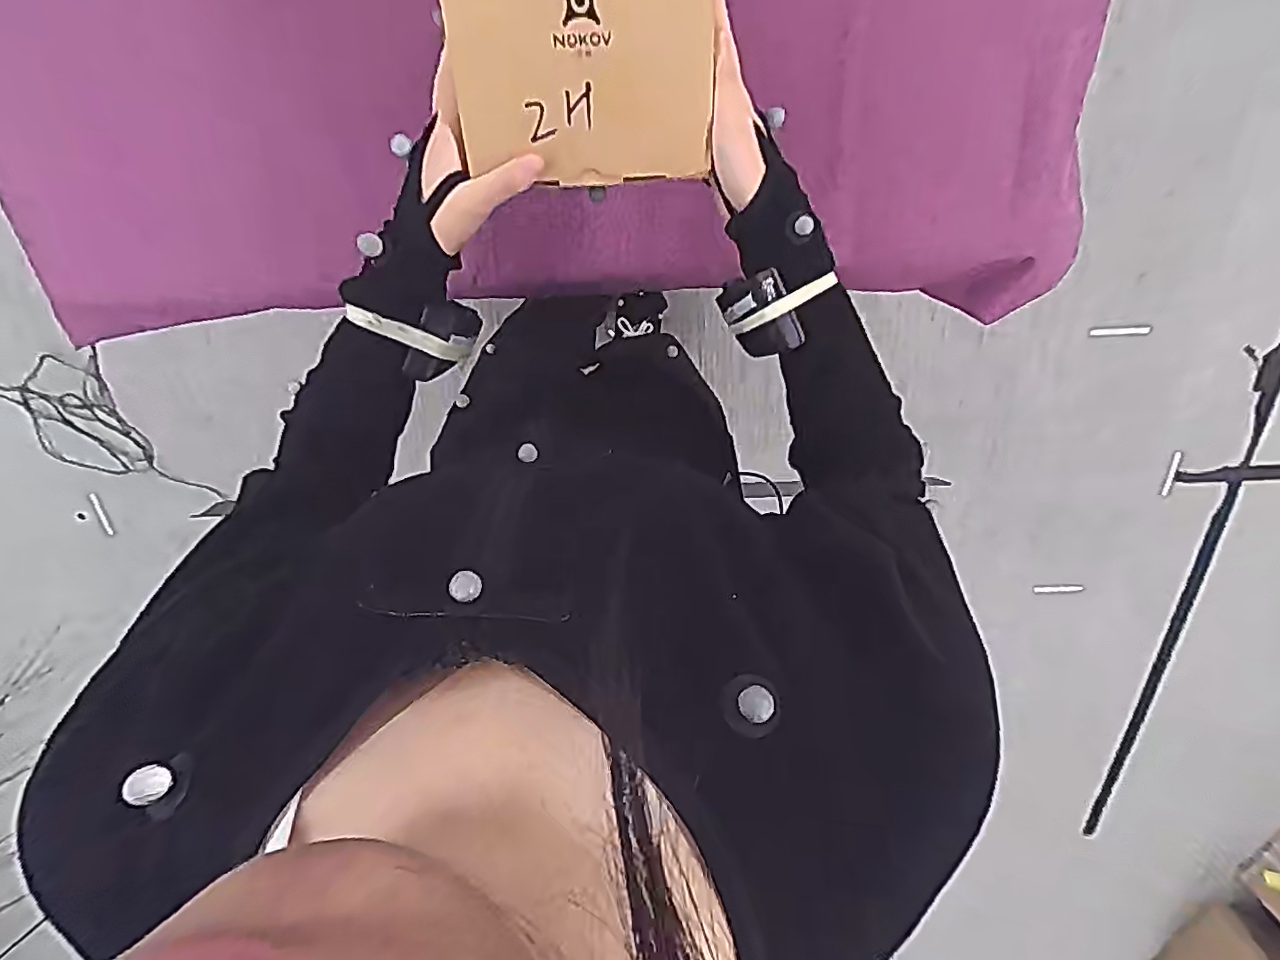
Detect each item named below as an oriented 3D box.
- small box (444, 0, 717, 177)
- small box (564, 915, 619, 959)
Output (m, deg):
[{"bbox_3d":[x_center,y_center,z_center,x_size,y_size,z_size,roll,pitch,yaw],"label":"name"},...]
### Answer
[{"bbox_3d":[-0.037,-0.324,0.391,0.168,0.176,0.179,-2,119,0],"label":"small box"},{"bbox_3d":[-0.164,1.633,1.854,0.179,0.176,0.168,-4,112,2],"label":"small box"}]
